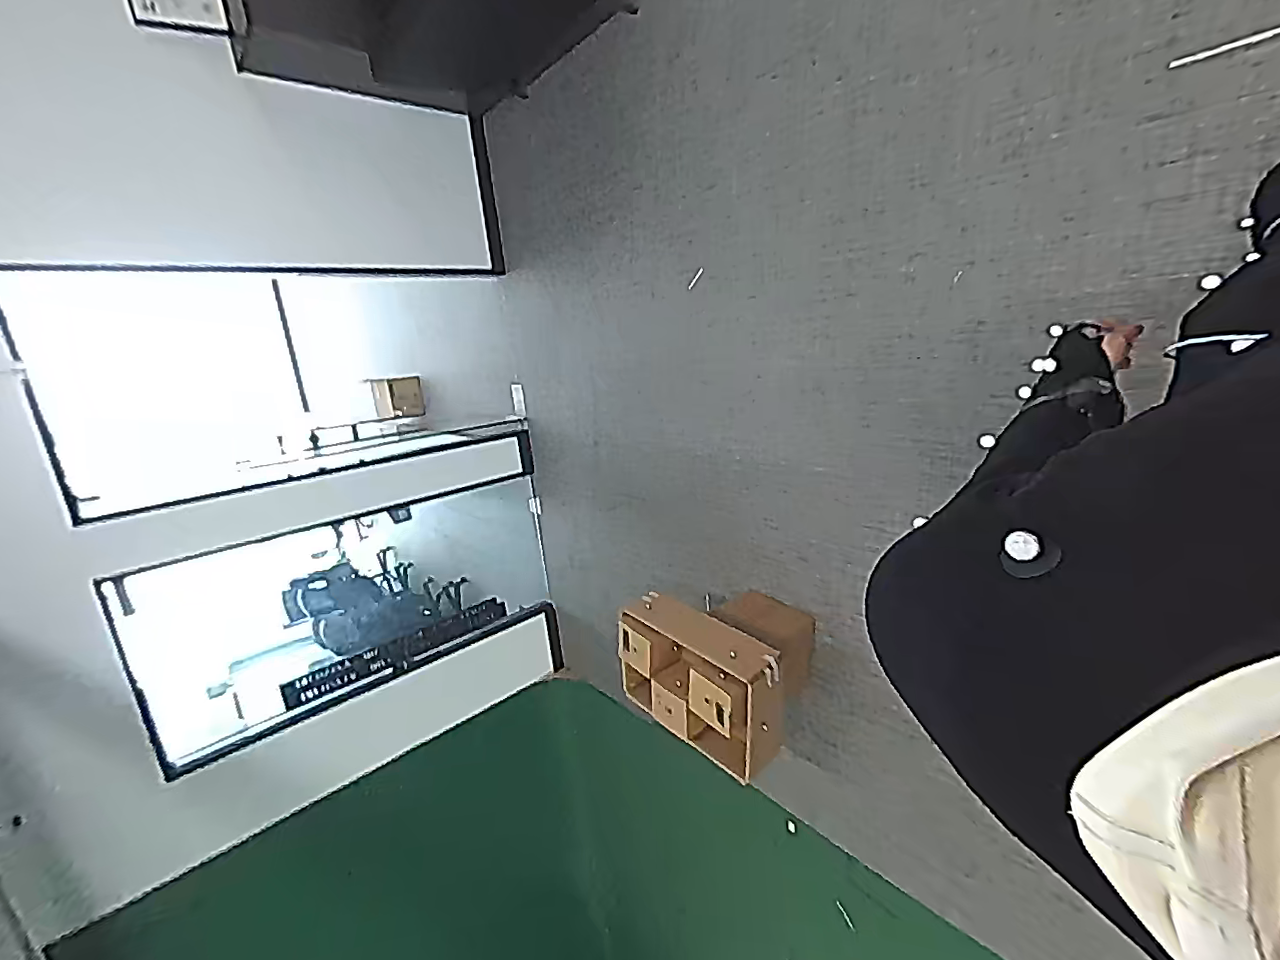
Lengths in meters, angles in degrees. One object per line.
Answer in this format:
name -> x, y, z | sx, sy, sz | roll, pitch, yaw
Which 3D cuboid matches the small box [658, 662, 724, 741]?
small box -> 0.185, 0.785, 1.938 | 0.179, 0.176, 0.168 | 17, 115, 46
